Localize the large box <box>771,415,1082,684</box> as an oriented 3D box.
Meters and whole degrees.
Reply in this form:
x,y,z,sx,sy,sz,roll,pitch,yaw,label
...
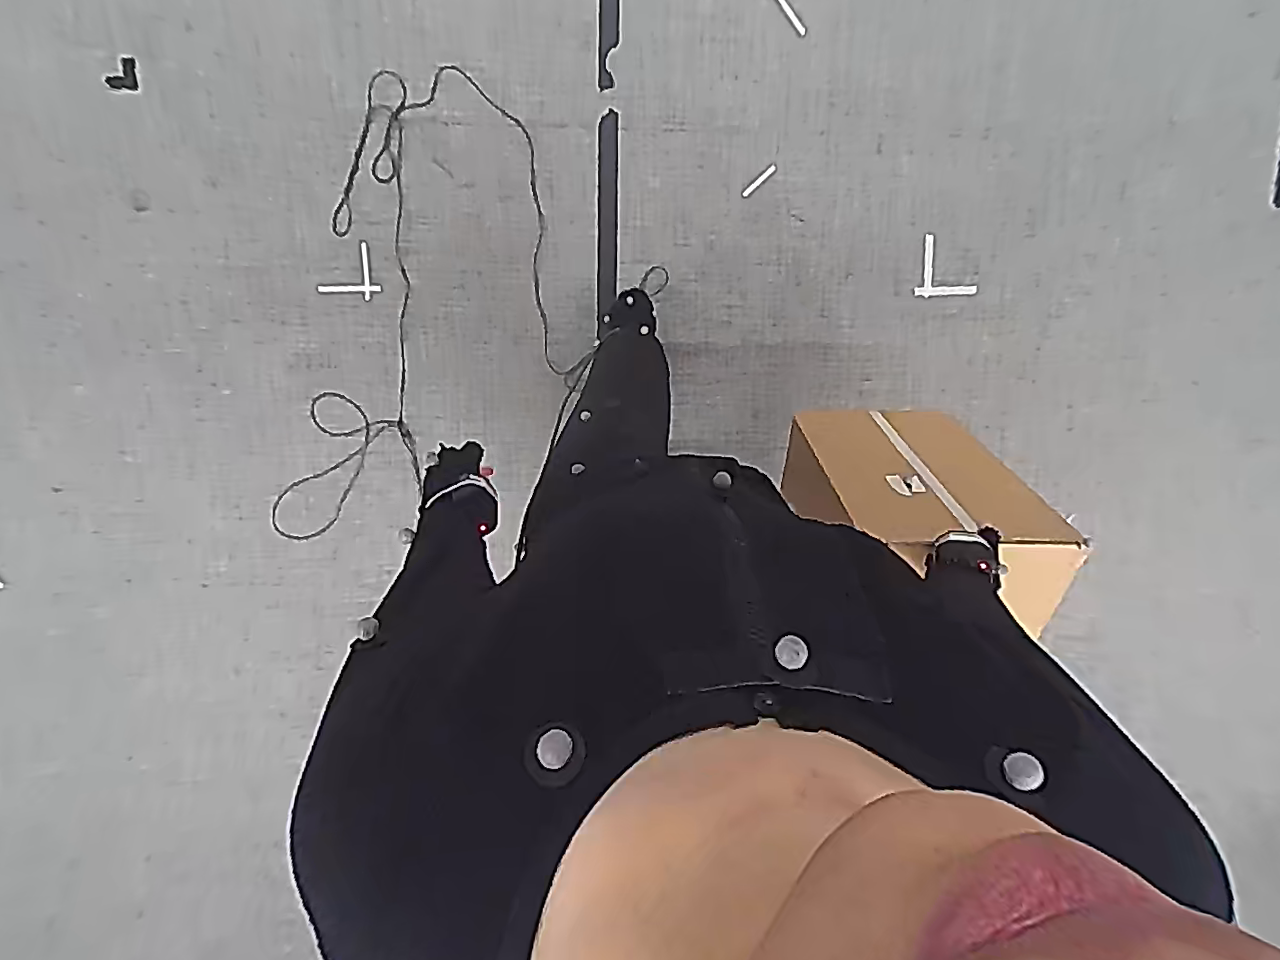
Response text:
x,y,z,sx,sy,sz,roll,pitch,yaw,label
0.459,0.110,0.996,0.320,0.408,0.320,-1,124,-1,large box
